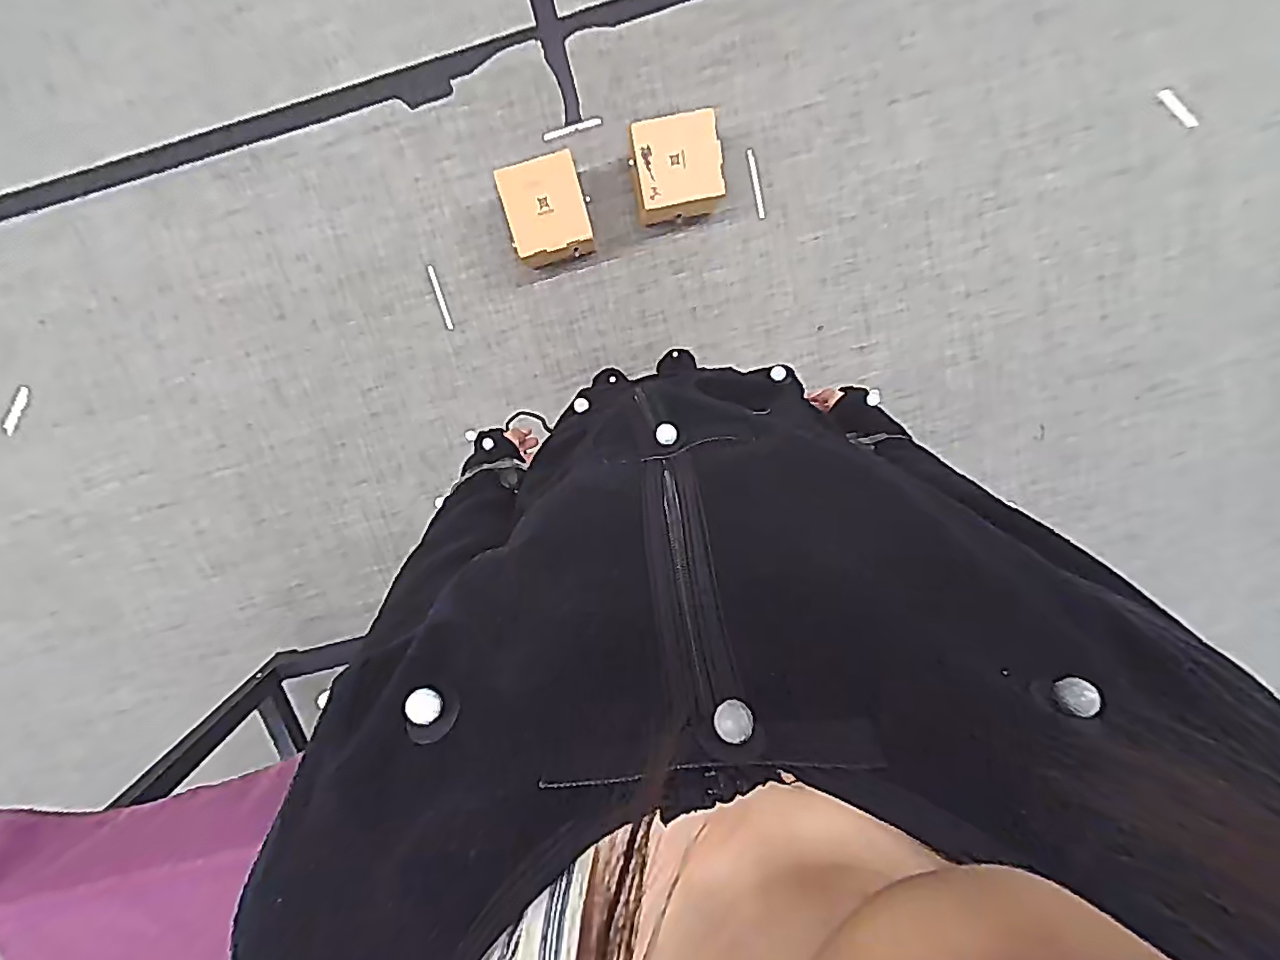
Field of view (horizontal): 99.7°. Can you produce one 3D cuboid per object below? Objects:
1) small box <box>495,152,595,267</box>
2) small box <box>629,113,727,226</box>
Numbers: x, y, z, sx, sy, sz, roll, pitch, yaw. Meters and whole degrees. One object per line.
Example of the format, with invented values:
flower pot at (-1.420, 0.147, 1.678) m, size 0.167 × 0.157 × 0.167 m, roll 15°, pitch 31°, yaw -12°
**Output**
small box at (-0.200, -0.584, 1.195) m, size 0.168 × 0.176 × 0.179 m, roll -17°, pitch 104°, yaw 0°
small box at (0.077, -0.672, 1.187) m, size 0.179 × 0.176 × 0.168 m, roll -11°, pitch 105°, yaw -1°
